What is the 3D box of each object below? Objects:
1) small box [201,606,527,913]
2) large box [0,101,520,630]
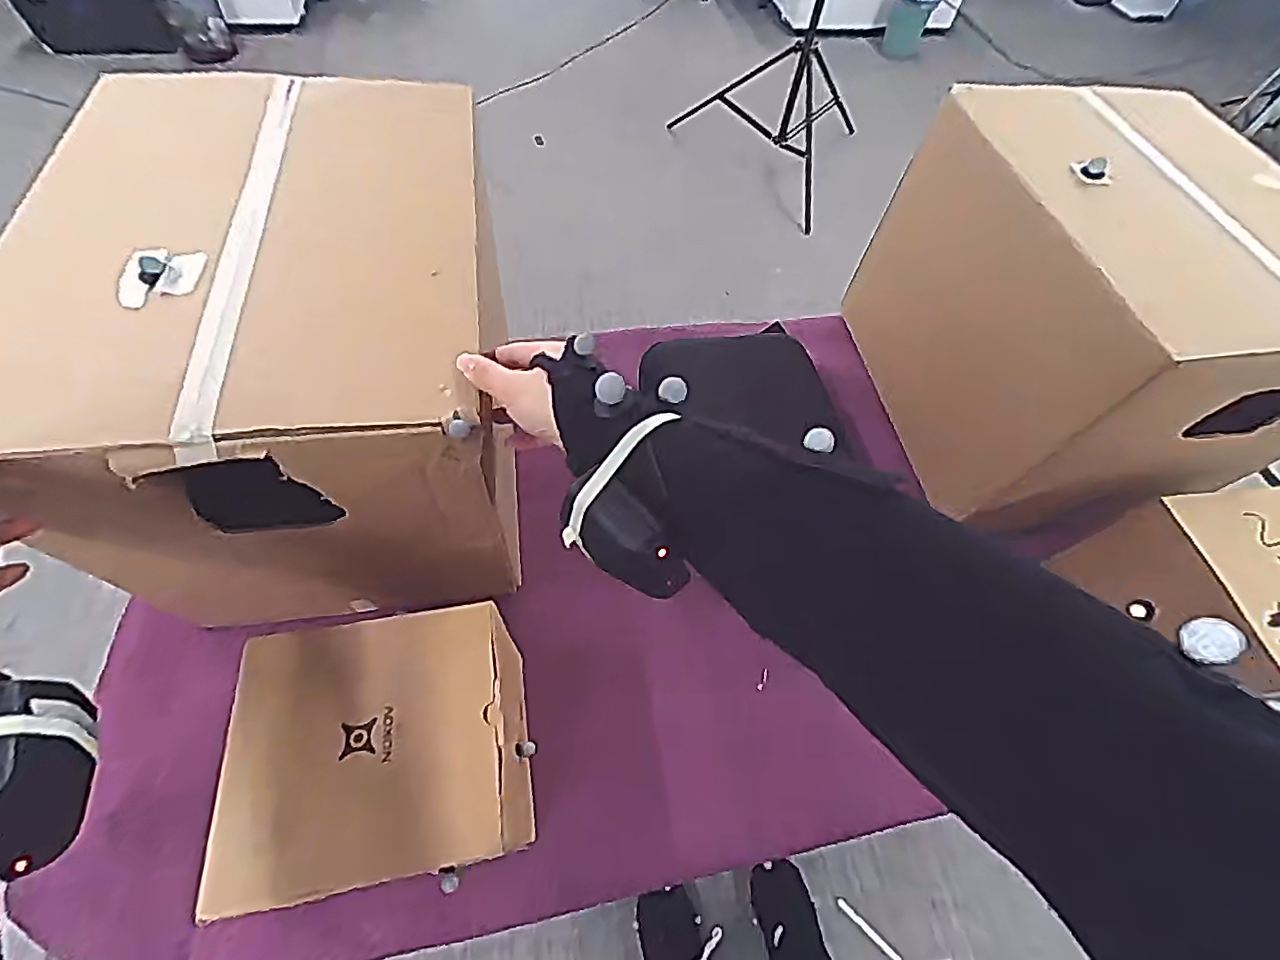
[{"bbox_3d":[-0.194,0.221,0.438,0.179,0.176,0.168,-8,59,-10],"label":"small box"},{"bbox_3d":[-0.300,-0.103,0.542,0.320,0.320,0.408,-6,62,-9],"label":"large box"}]
